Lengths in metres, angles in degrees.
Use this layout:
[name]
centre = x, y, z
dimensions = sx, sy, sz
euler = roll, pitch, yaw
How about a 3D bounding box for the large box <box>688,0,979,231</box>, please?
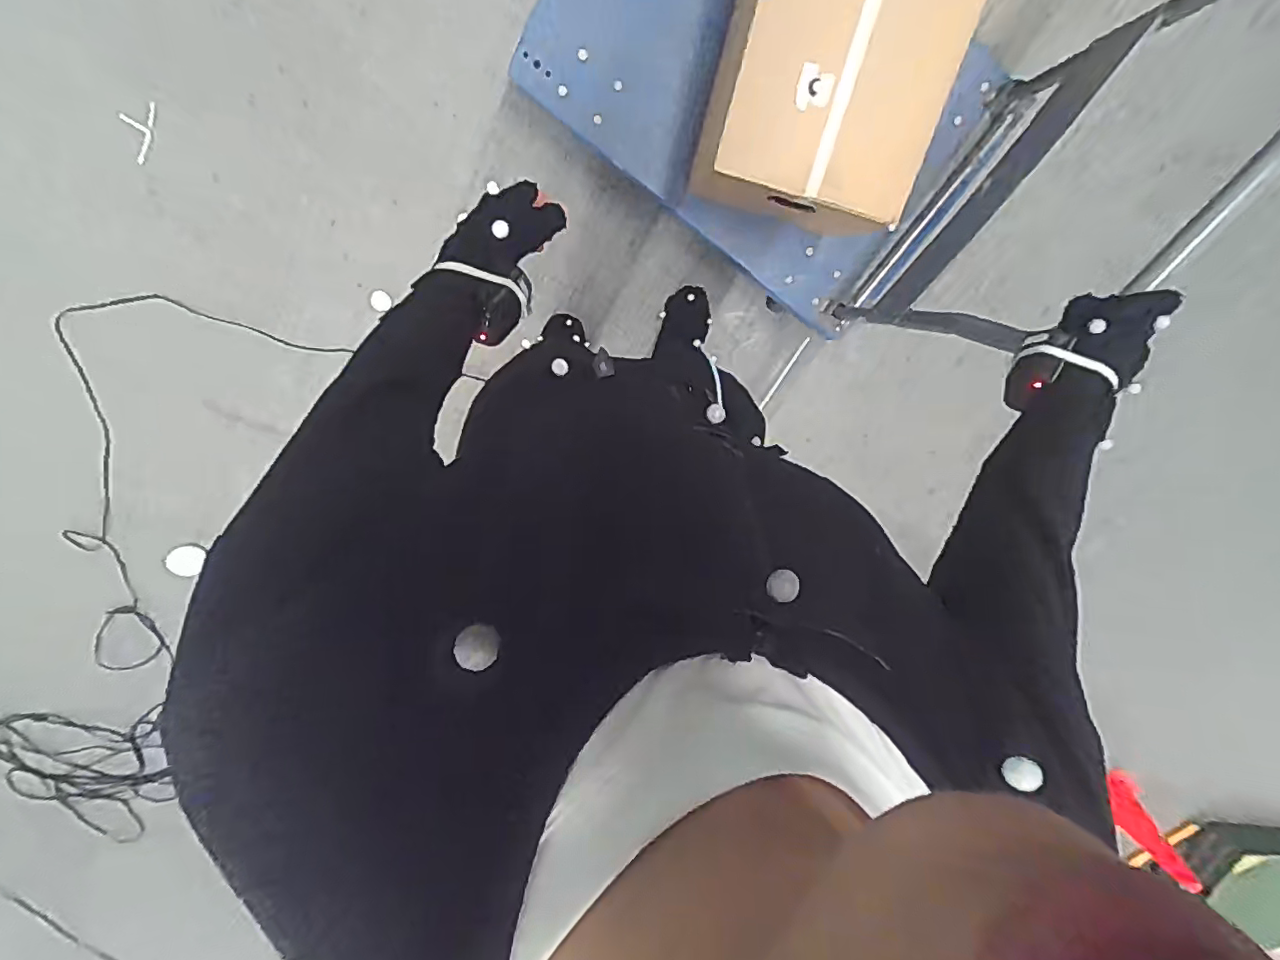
[large box]
centre = 0.297, -0.675, 0.912
dimensions = 0.320, 0.320, 0.408
euler = 13, 112, -8
